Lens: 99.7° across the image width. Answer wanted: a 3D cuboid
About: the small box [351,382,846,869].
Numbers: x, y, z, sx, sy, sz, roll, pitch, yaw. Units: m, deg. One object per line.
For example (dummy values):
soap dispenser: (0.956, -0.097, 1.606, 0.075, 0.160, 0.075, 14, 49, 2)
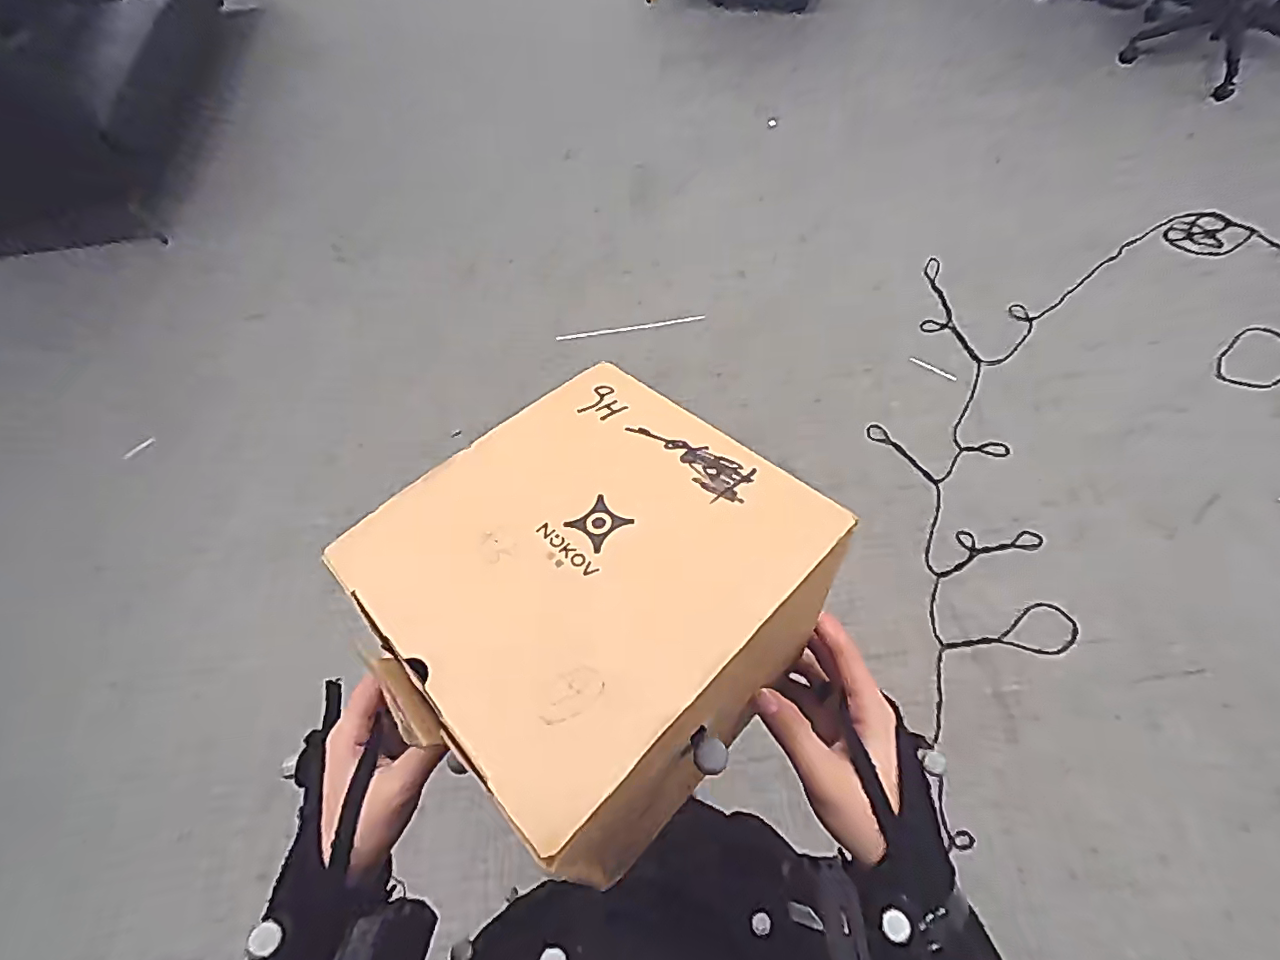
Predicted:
small box: (-0.014, 0.083, 0.310, 0.168, 0.176, 0.179, 36, 63, 29)
